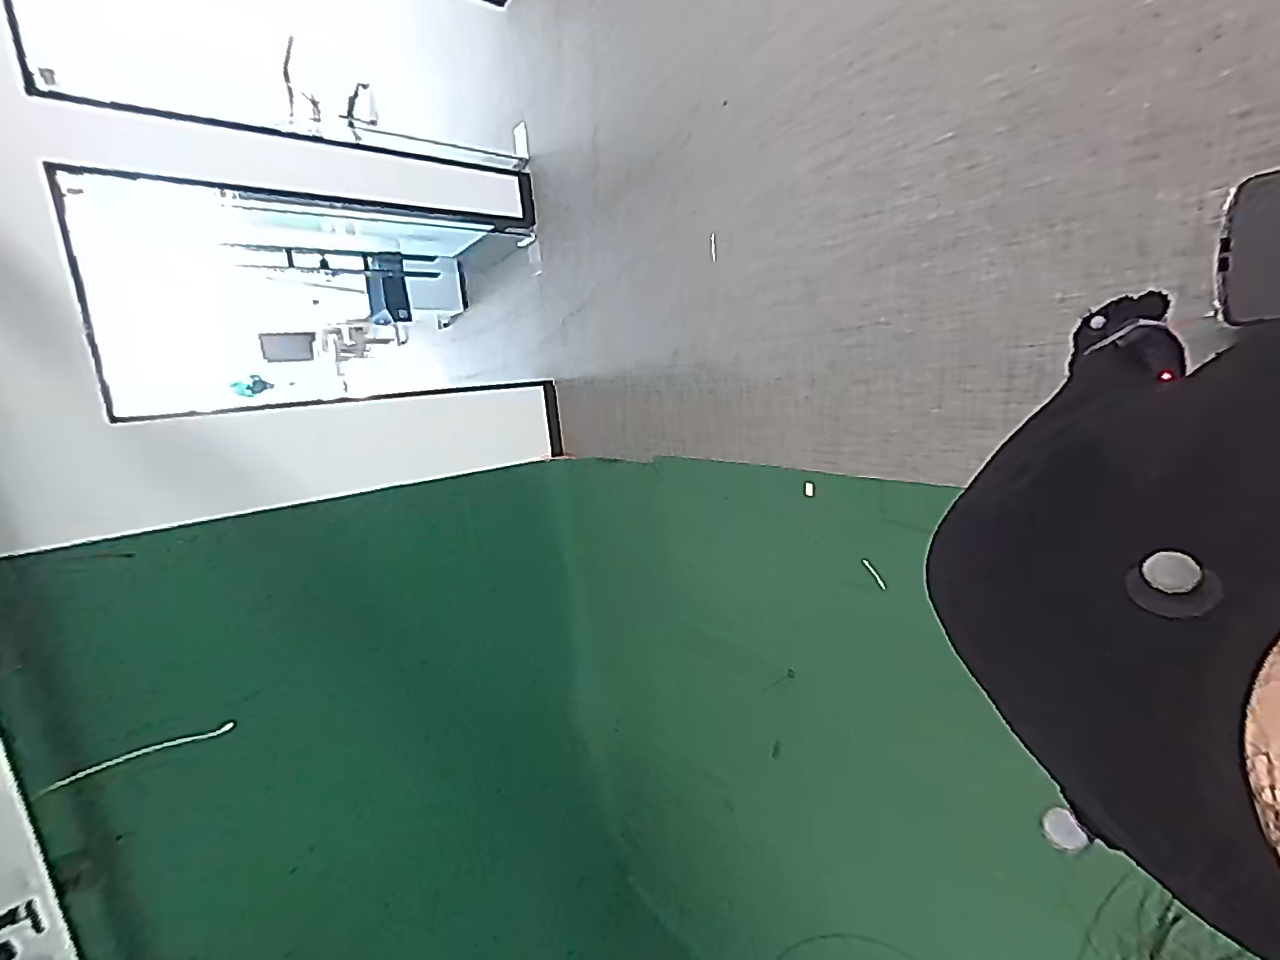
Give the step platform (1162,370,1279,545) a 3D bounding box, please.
[{"bbox_3d":[1.198,-0.023,0.735,0.684,0.204,0.286,8,106,51],"label":"step platform"}]
